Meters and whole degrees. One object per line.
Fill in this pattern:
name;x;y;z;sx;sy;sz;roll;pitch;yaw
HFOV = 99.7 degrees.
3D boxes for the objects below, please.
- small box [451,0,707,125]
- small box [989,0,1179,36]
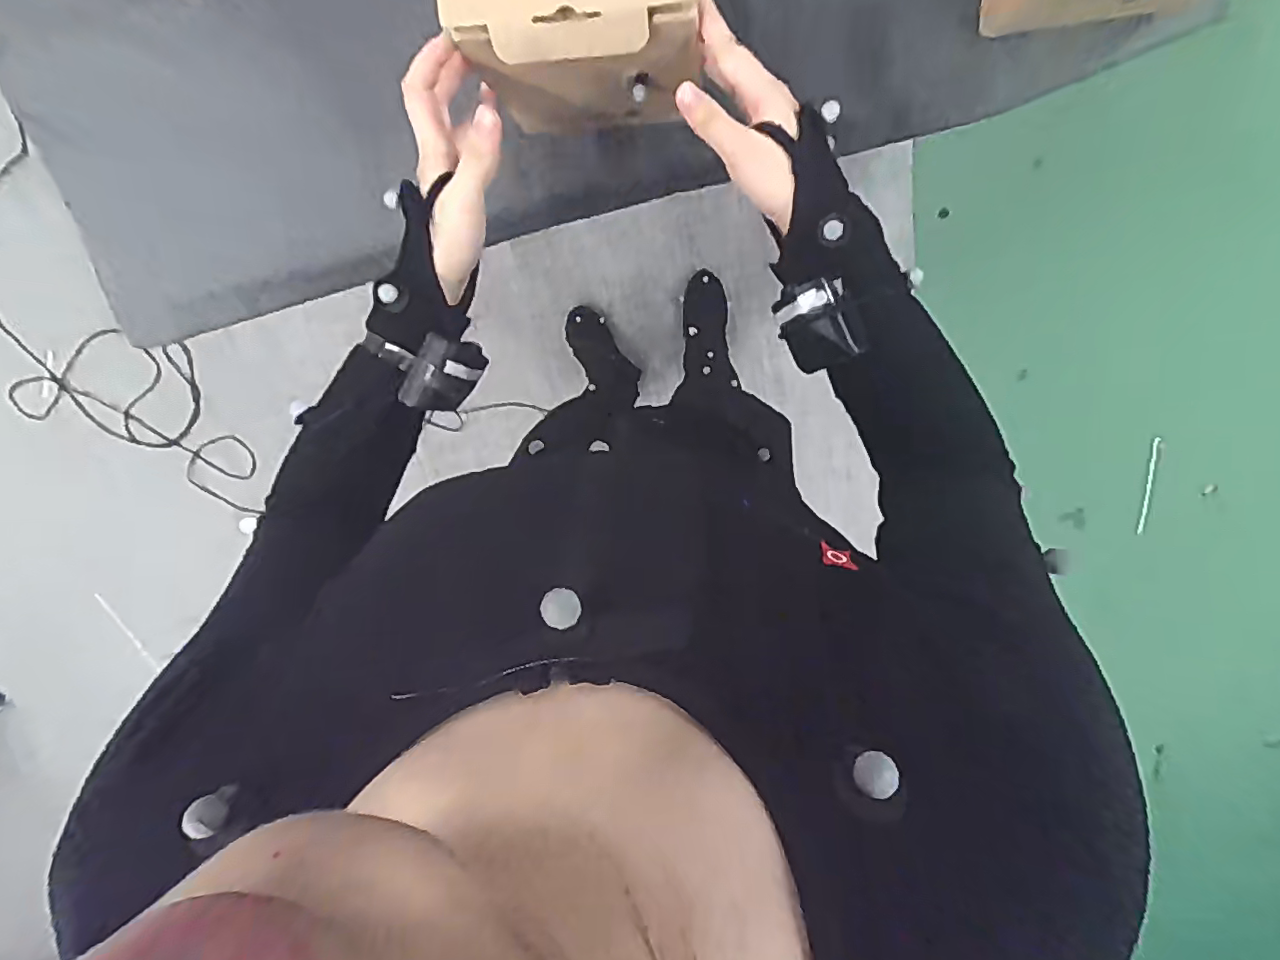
small box;-0.034;-0.388;0.400;0.168;0.176;0.179;-1;105;6
small box;0.414;-0.489;0.428;0.179;0.176;0.168;-6;112;3
